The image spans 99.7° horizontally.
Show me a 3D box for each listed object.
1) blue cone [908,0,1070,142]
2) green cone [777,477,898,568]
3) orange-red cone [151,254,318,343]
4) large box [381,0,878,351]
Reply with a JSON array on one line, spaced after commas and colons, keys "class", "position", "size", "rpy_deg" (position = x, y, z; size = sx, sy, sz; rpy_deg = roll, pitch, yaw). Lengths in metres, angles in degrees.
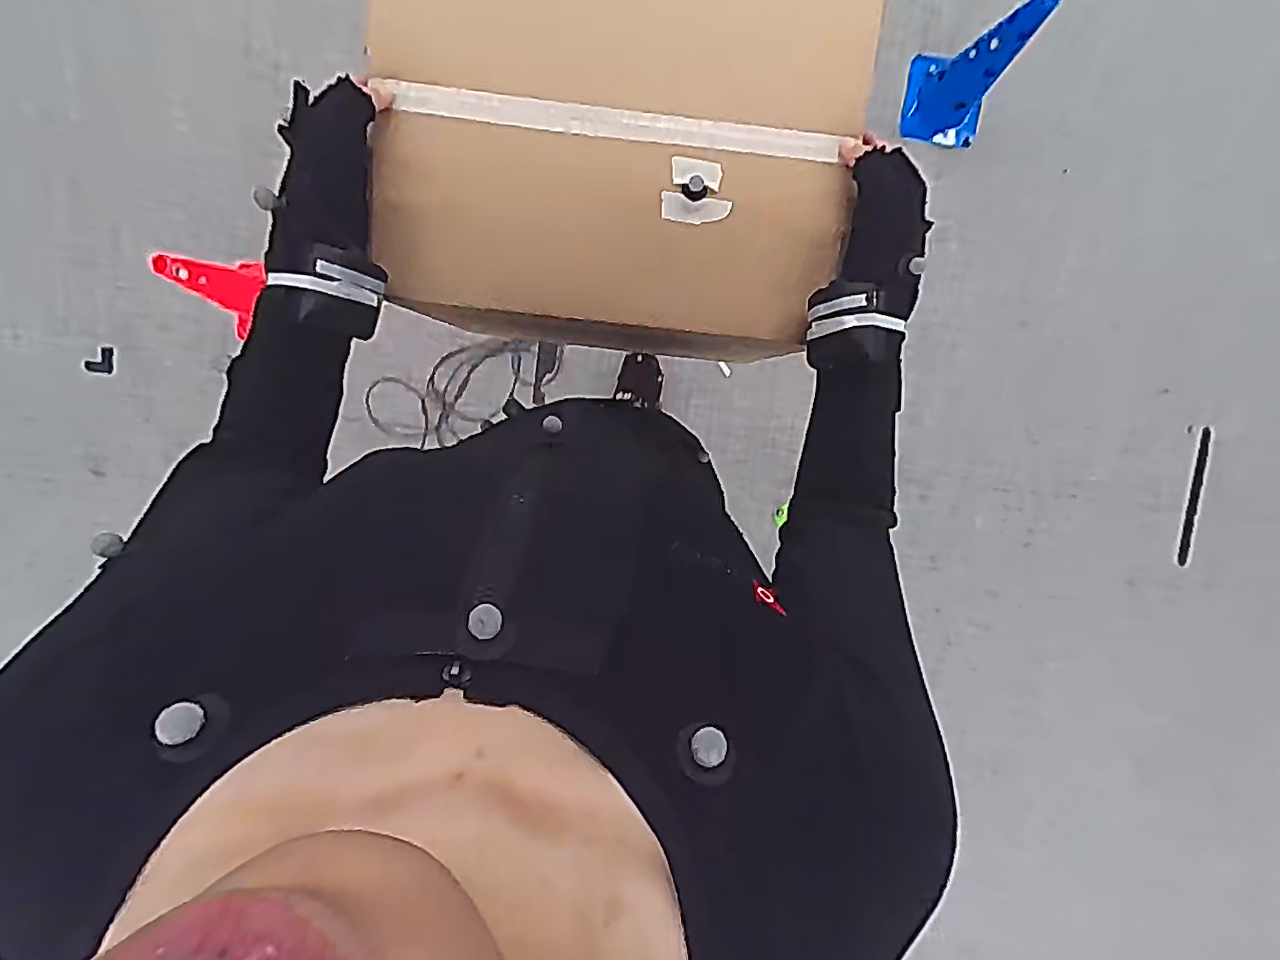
[{"class": "blue cone", "position": [0.794, -0.957, 1.220], "size": [0.192, 0.380, 0.193], "rpy_deg": [10, 96, -4]}, {"class": "green cone", "position": [0.510, 0.134, 1.311], "size": [0.202, 0.368, 0.200], "rpy_deg": [-31, 97, 0]}, {"class": "orange-red cone", "position": [-0.916, -0.432, 1.204], "size": [0.198, 0.360, 0.199], "rpy_deg": [4, 97, -1]}, {"class": "large box", "position": [-0.020, -0.325, 0.595], "size": [0.408, 0.320, 0.320], "rpy_deg": [5, 100, -4]}]
